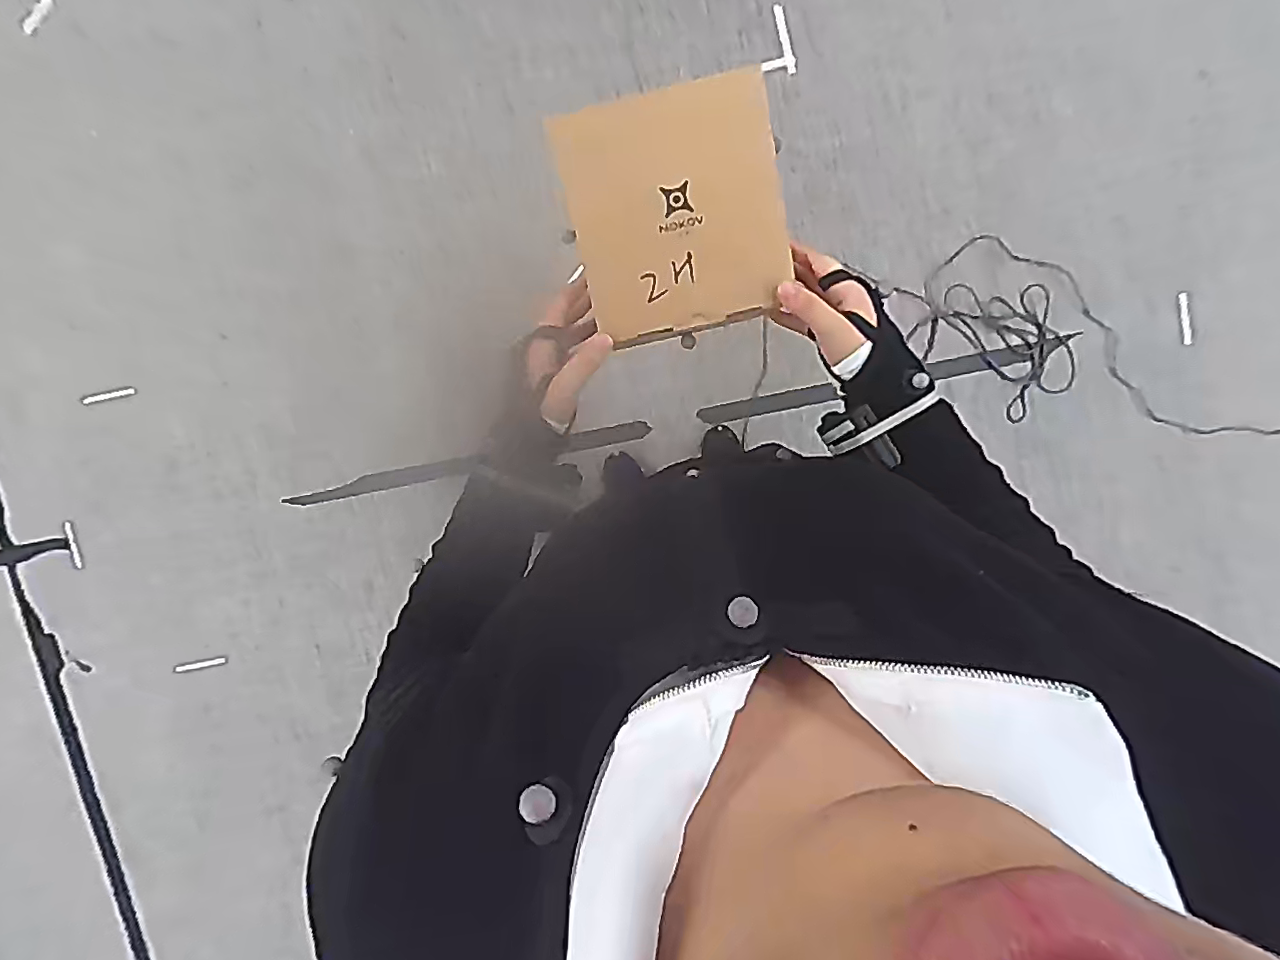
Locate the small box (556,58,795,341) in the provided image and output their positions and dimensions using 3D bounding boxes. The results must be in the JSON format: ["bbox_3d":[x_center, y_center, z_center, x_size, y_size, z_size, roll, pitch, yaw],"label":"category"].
[{"bbox_3d":[0.030,-0.236,0.504,0.168,0.176,0.179,-12,102,3],"label":"small box"}]
